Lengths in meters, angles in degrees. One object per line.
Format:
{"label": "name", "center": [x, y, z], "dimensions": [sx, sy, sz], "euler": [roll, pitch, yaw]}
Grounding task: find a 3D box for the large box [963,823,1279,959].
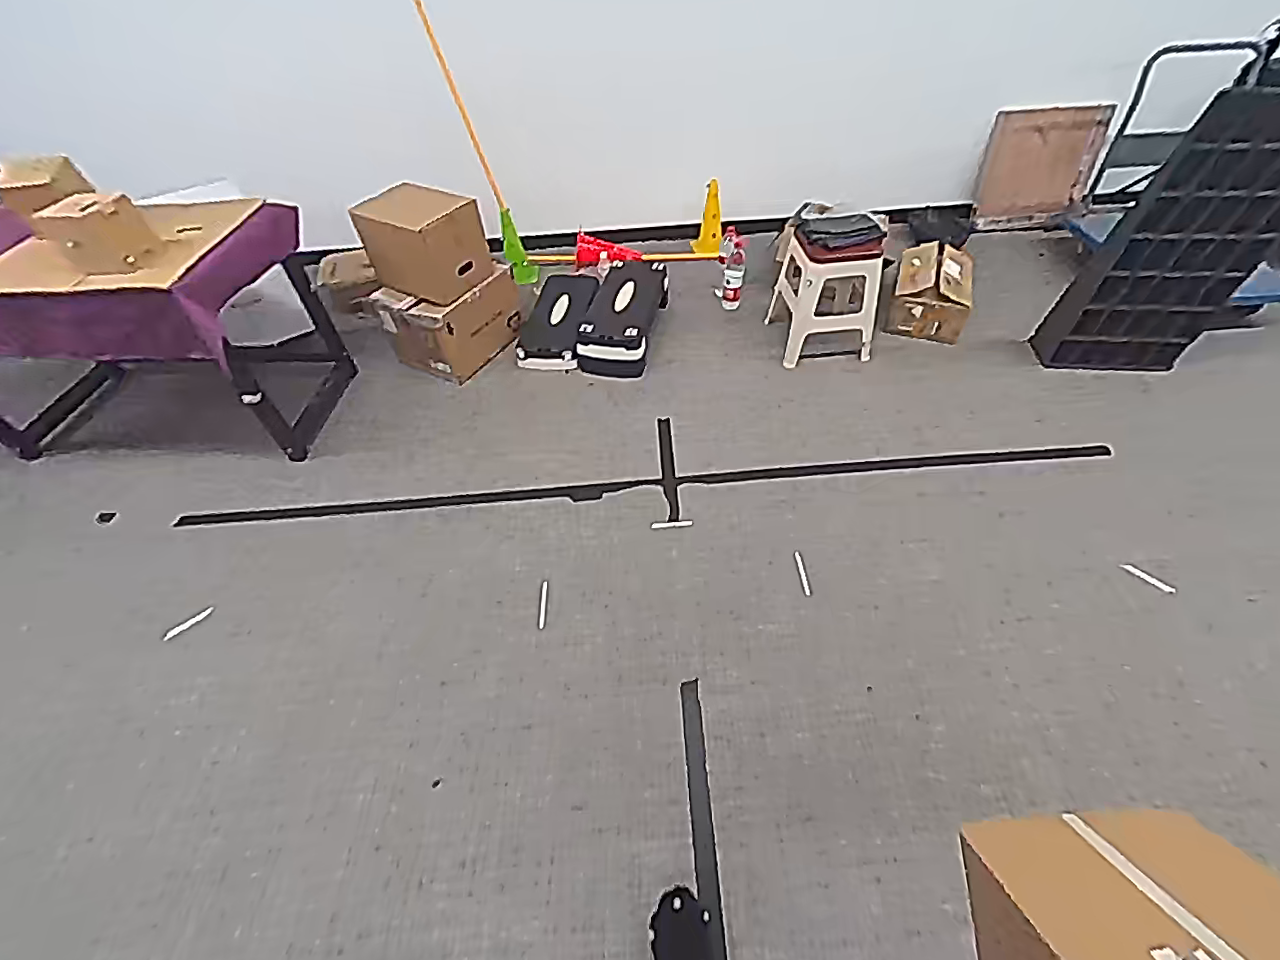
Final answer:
{"label": "large box", "center": [0.631, 0.660, 0.601], "dimensions": [0.320, 0.408, 0.320], "euler": [-7, 88, 6]}
